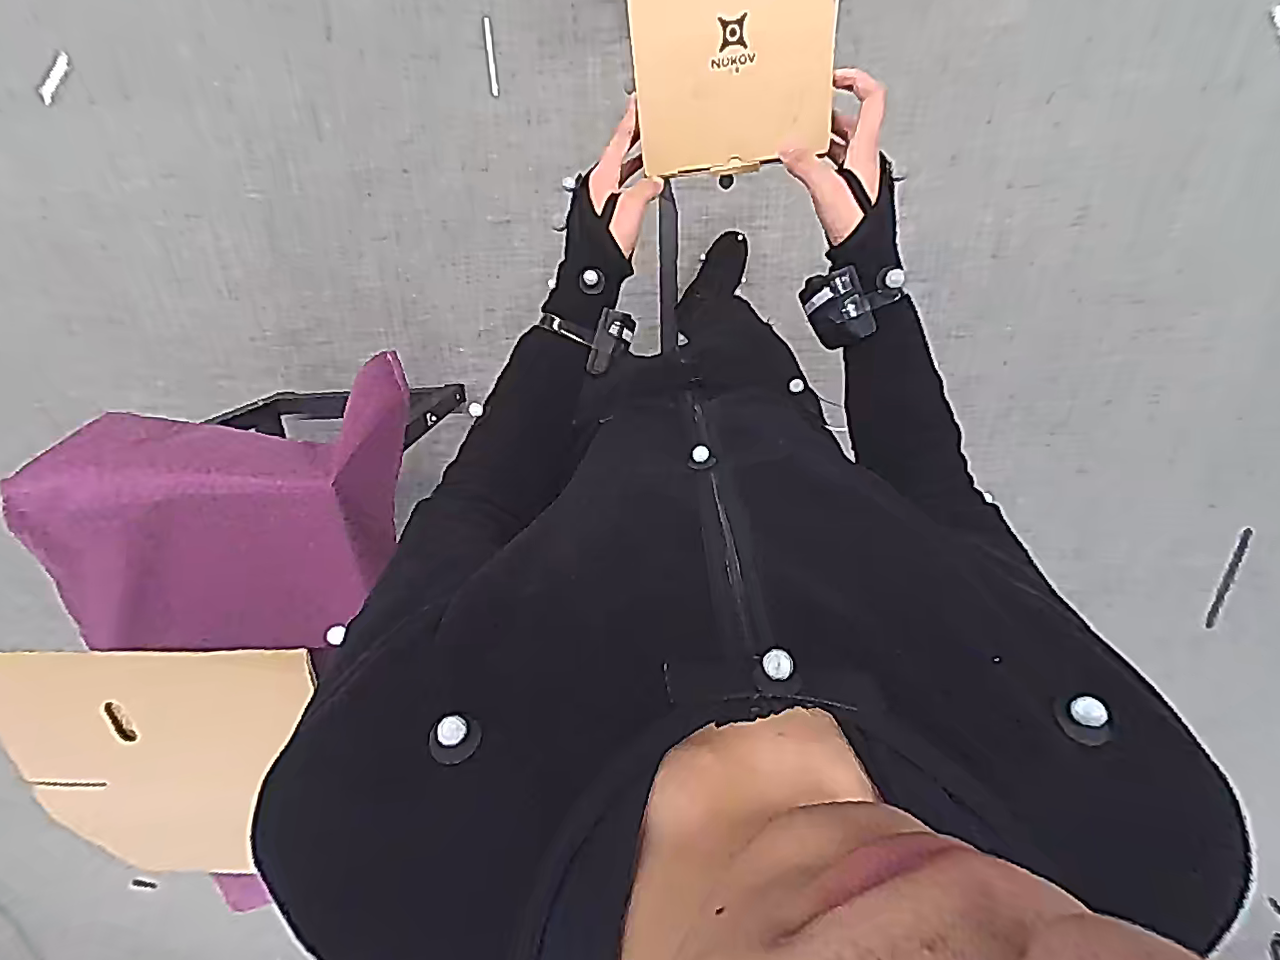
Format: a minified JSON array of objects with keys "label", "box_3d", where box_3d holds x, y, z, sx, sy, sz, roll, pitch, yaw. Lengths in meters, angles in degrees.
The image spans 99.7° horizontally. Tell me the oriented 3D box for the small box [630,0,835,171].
[{"label":"small box","box_3d":[0.081,-0.404,0.512,0.168,0.176,0.179,-4,120,5]}]
